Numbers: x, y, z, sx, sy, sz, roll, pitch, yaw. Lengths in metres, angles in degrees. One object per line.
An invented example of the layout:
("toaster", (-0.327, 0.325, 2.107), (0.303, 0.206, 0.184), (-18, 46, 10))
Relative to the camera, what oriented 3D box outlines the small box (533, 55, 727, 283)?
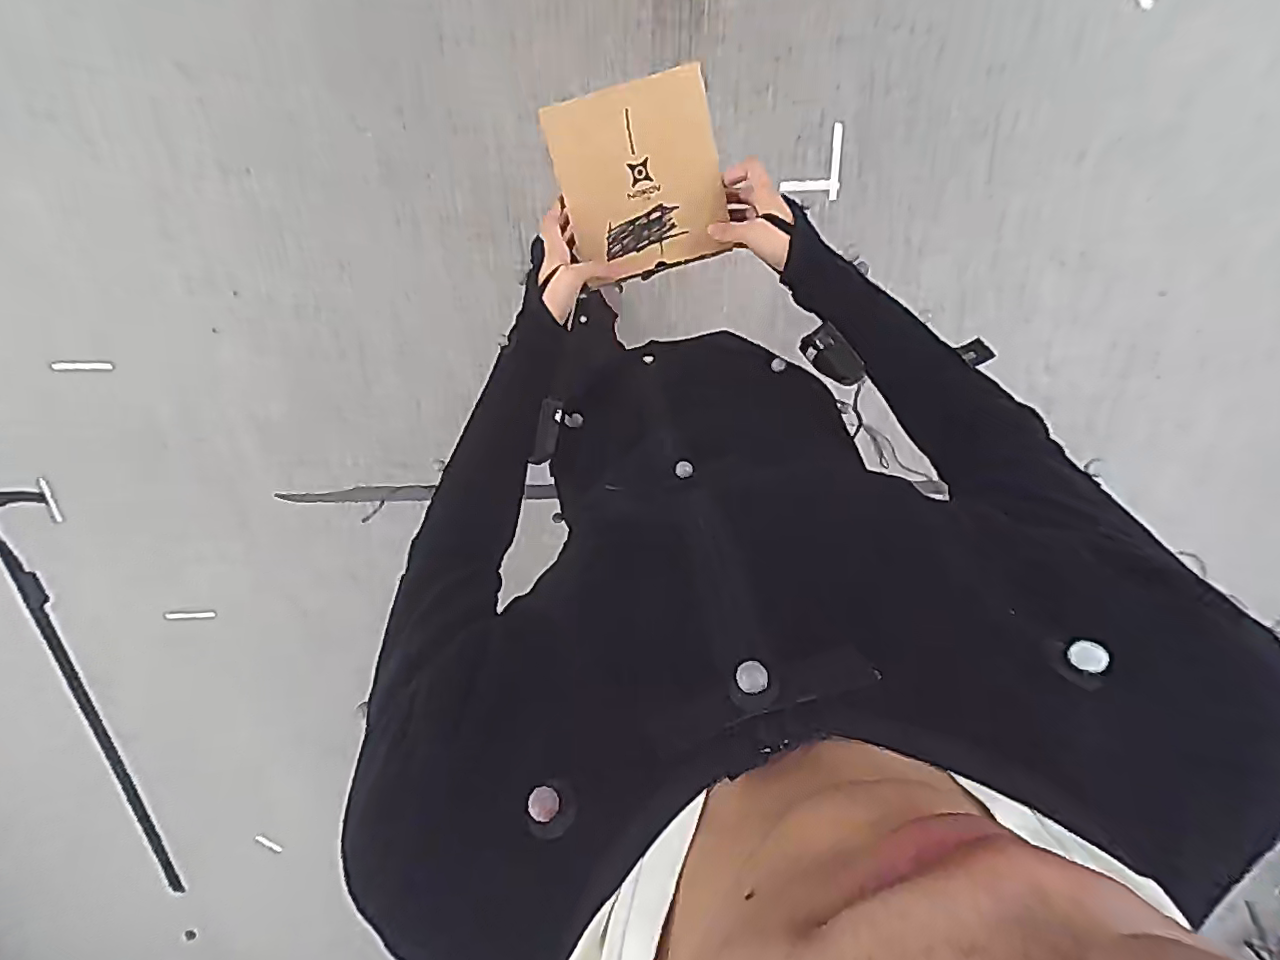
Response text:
("small box", (-0.008, -0.337, 0.623), (0.168, 0.176, 0.179), (-15, 110, 2))
